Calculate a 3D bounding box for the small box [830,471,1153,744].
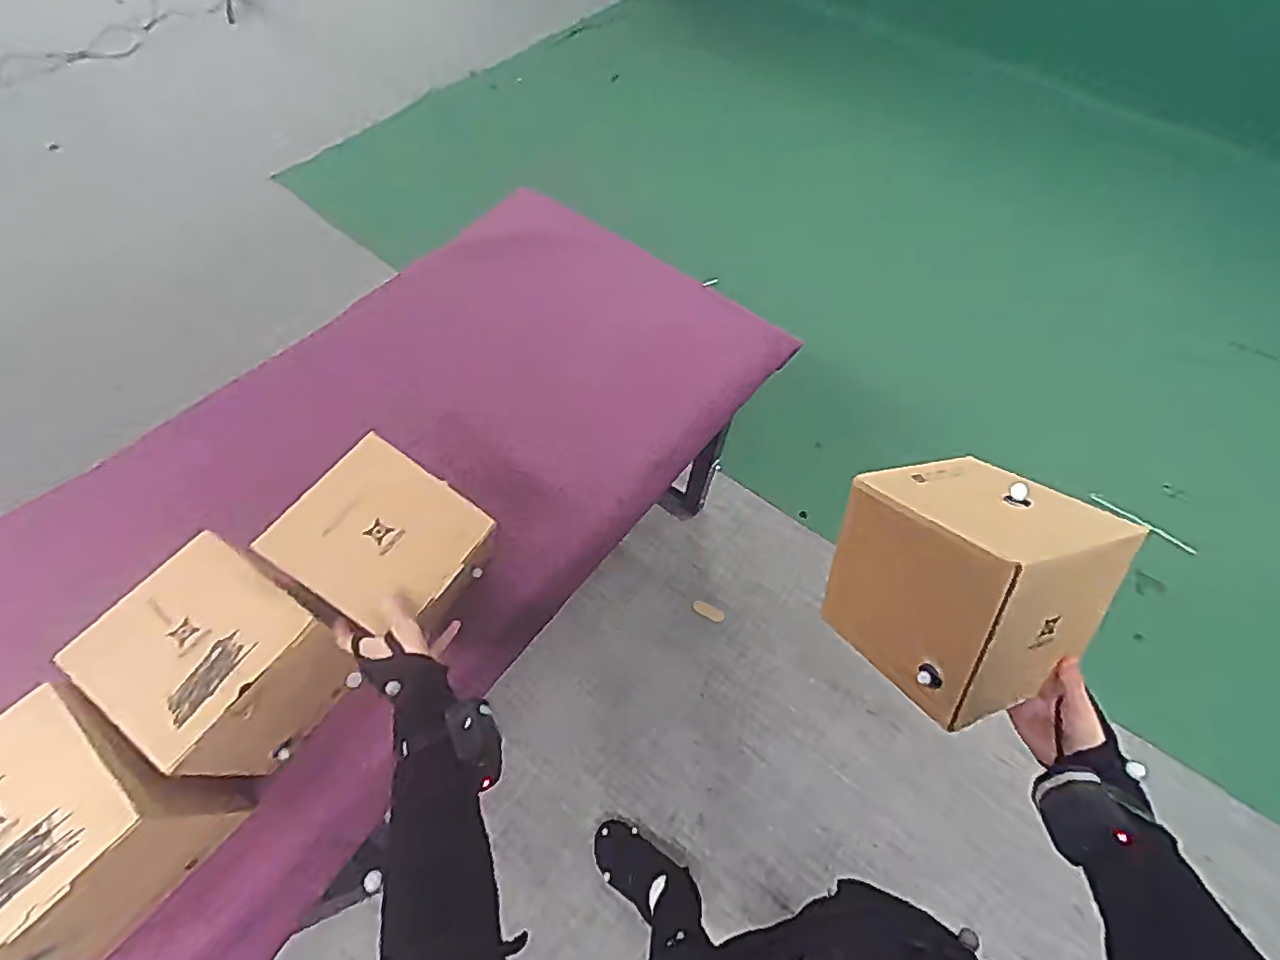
[{"bbox_3d":[0.306,0.100,0.509,0.168,0.179,0.176,-7,28,-22],"label":"small box"}]
